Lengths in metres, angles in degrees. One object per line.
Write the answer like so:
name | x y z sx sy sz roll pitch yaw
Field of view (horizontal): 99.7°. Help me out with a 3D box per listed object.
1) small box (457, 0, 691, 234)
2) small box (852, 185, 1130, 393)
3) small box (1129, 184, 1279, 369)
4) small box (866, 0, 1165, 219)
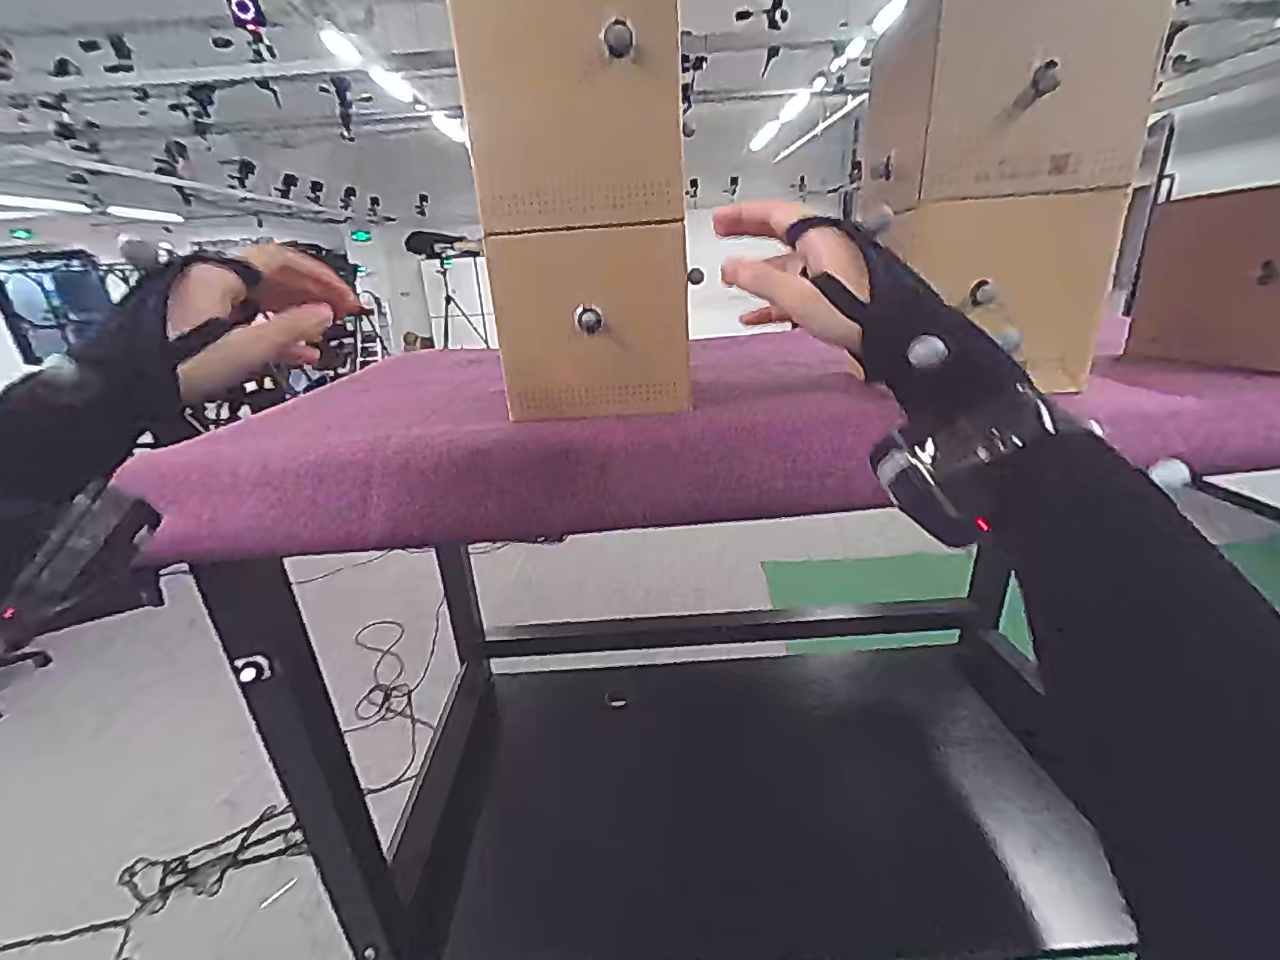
small box | -0.045 -0.323 0.497 0.179 0.176 0.168 -3 21 3
small box | 0.324 -0.182 0.542 0.168 0.176 0.179 -1 19 5
small box | 0.665 -0.207 0.550 0.168 0.176 0.179 -4 19 -2
small box | 0.317 -0.337 0.488 0.168 0.176 0.179 -1 20 6
